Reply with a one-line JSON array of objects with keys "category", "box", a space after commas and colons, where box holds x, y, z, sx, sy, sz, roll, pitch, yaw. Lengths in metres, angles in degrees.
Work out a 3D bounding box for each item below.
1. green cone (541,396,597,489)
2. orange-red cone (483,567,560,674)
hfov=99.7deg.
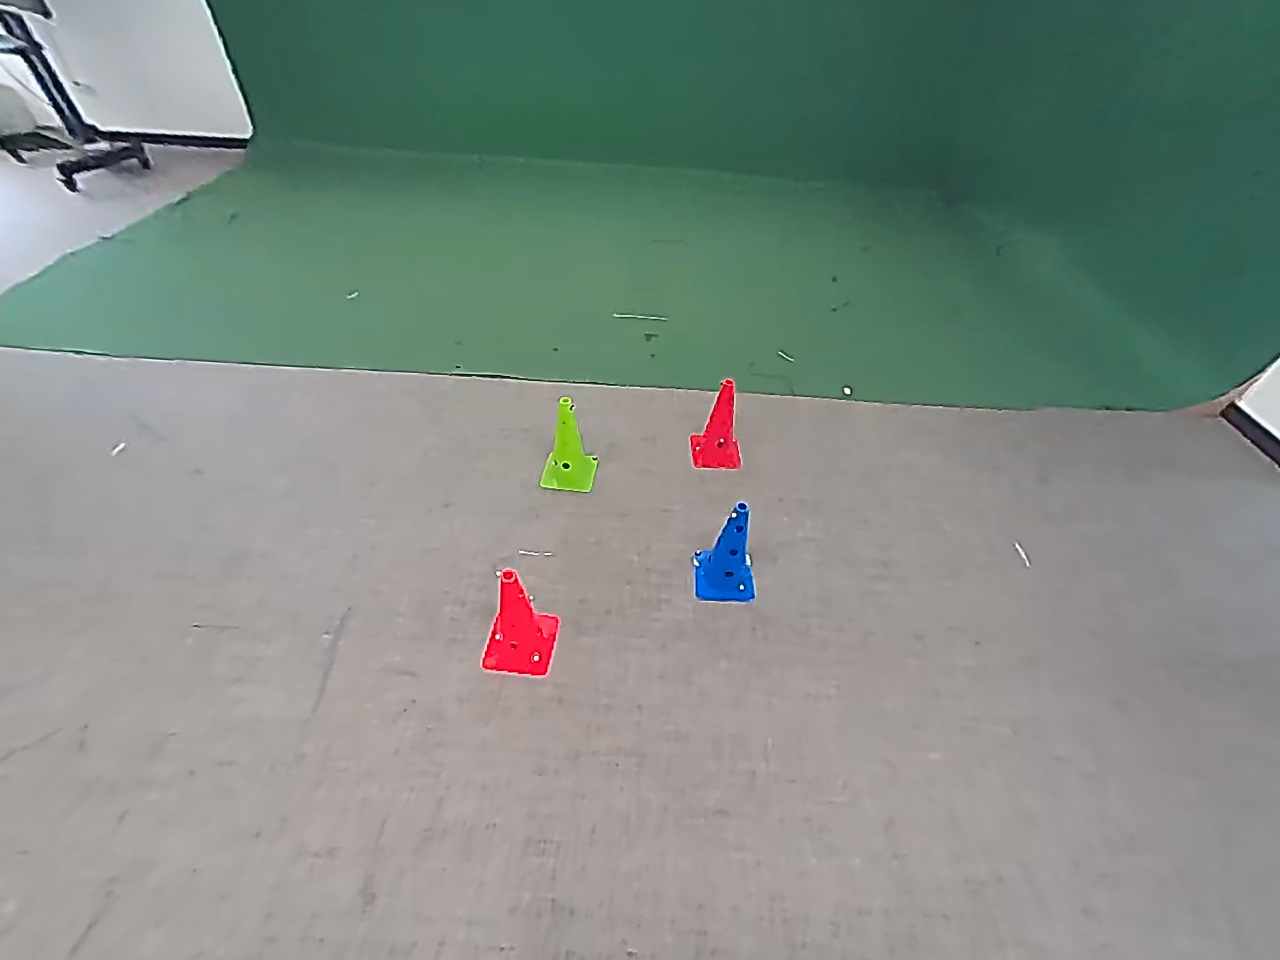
[{"category": "green cone", "box": [-0.273, -0.163, 2.013, 0.200, 0.368, 0.202, 5, 47, 1]}, {"category": "orange-red cone", "box": [-0.342, 0.359, 1.505, 0.198, 0.360, 0.199, 7, 44, 2]}]
